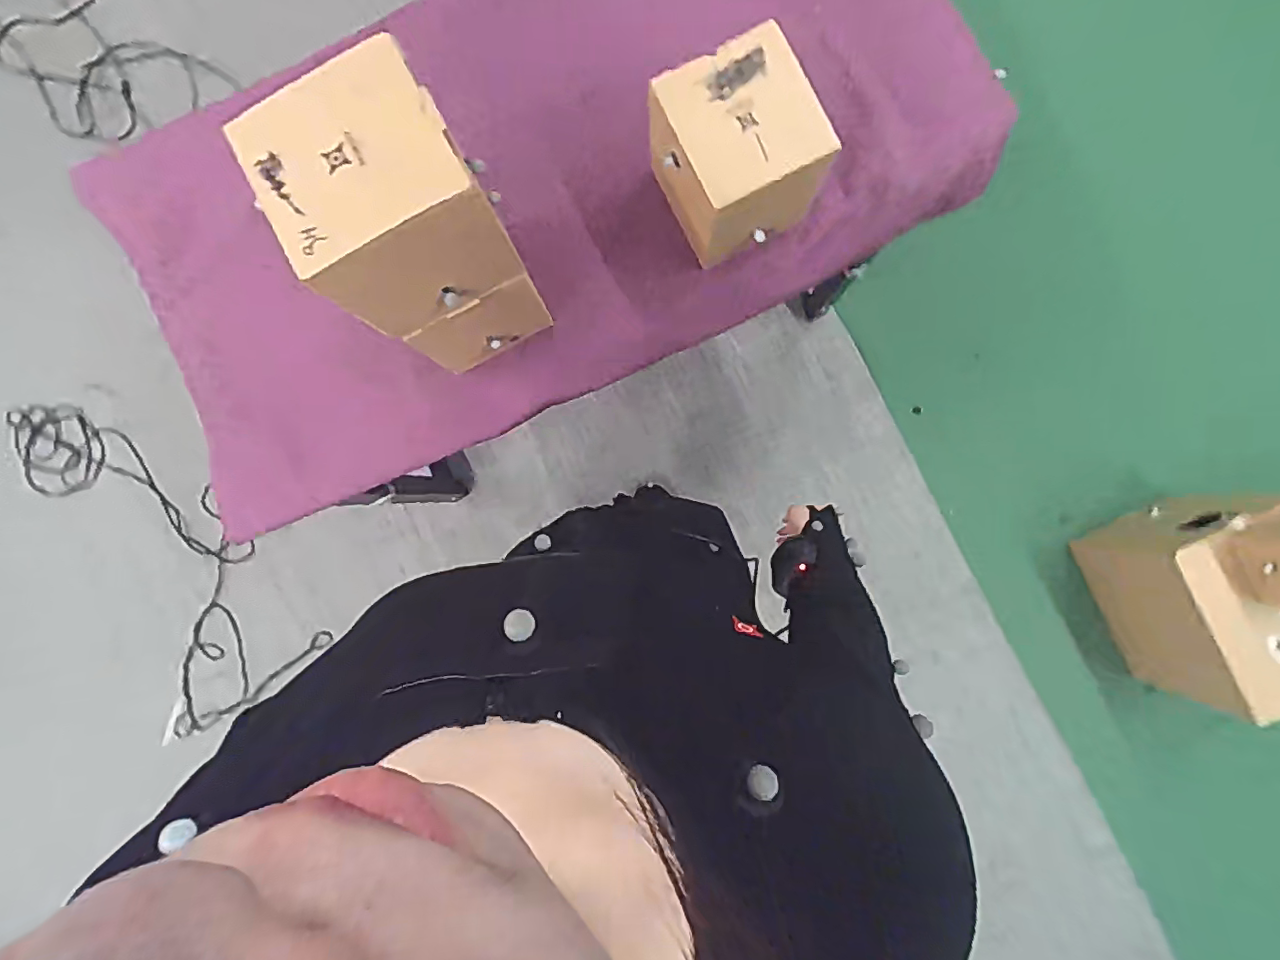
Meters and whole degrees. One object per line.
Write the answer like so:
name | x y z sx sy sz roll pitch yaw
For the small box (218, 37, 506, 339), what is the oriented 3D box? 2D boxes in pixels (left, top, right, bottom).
small box | -0.254 -0.272 0.546 0.179 0.176 0.168 -29 85 0

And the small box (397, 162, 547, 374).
small box | -0.245 -0.265 0.709 0.168 0.176 0.179 -28 86 2

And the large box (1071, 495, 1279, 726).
large box | 1.361 0.279 1.285 0.320 0.320 0.408 -25 88 2

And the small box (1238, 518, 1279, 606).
small box | 1.352 0.152 1.047 0.179 0.176 0.168 -25 88 1

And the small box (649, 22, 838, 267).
small box | 0.120 -0.416 0.701 0.168 0.176 0.179 -27 87 1
